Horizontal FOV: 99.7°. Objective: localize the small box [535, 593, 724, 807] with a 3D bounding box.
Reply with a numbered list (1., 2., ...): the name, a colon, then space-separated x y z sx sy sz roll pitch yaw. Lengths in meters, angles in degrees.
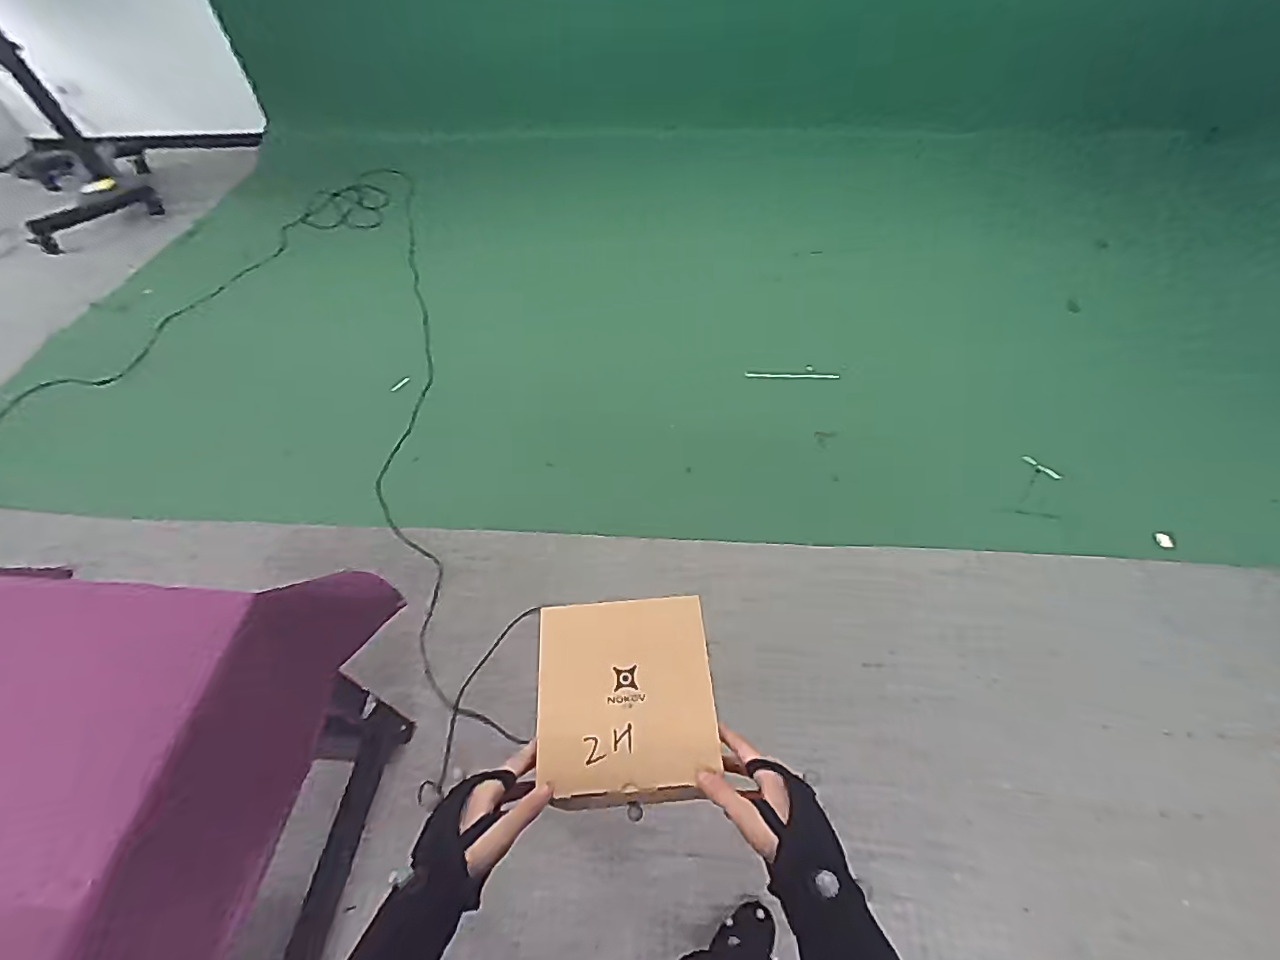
1. small box: -0.009 0.237 0.574 0.168 0.176 0.179 -4 56 1
